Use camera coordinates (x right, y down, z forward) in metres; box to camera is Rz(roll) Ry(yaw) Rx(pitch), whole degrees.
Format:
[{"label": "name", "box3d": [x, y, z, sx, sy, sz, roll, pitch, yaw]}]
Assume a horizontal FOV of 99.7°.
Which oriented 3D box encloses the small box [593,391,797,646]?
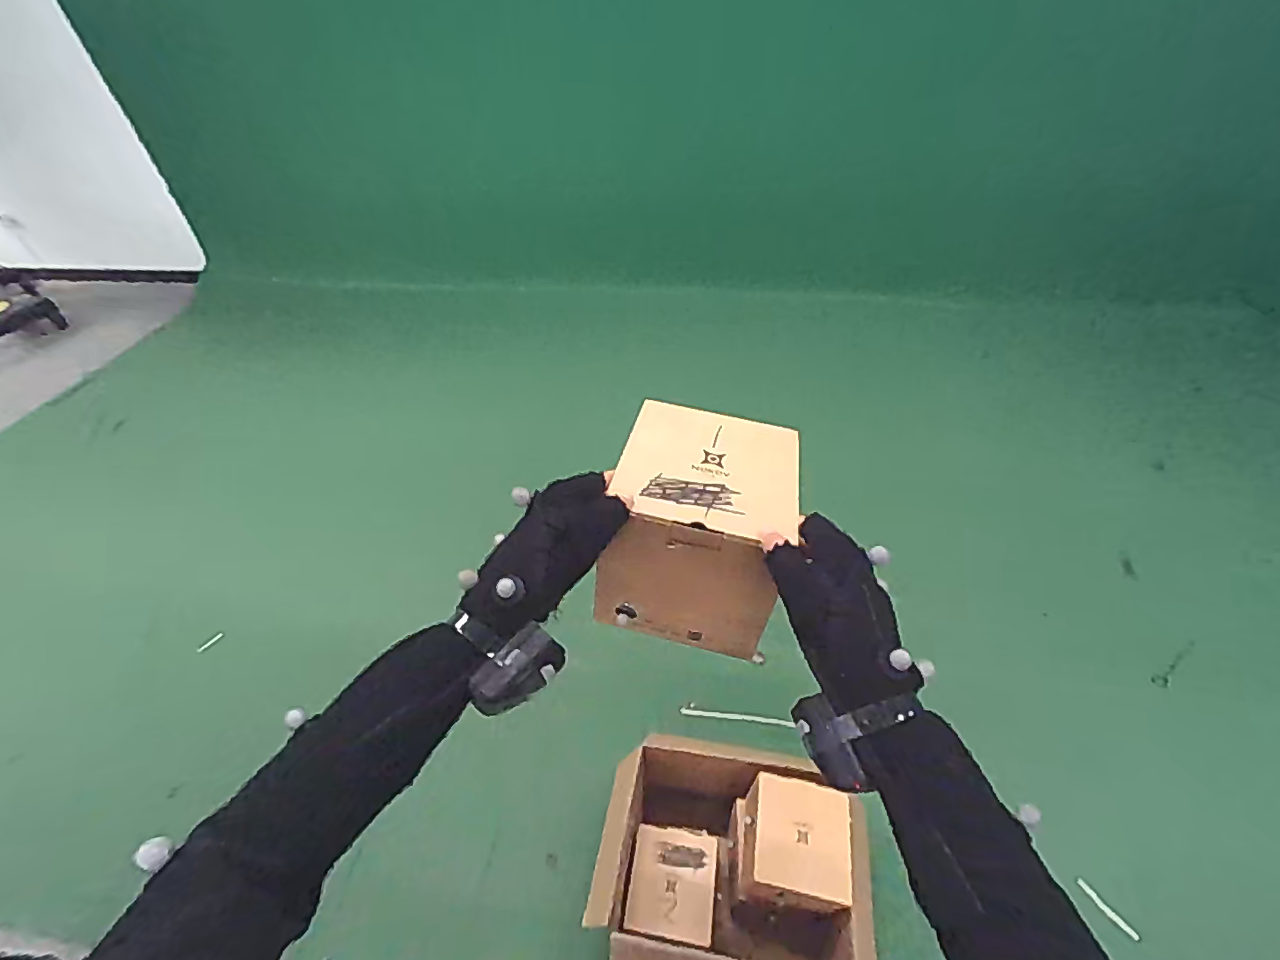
[{"label": "small box", "box3d": [0.054, 0.038, 0.544, 0.168, 0.176, 0.179, 13, 40, 6]}]
